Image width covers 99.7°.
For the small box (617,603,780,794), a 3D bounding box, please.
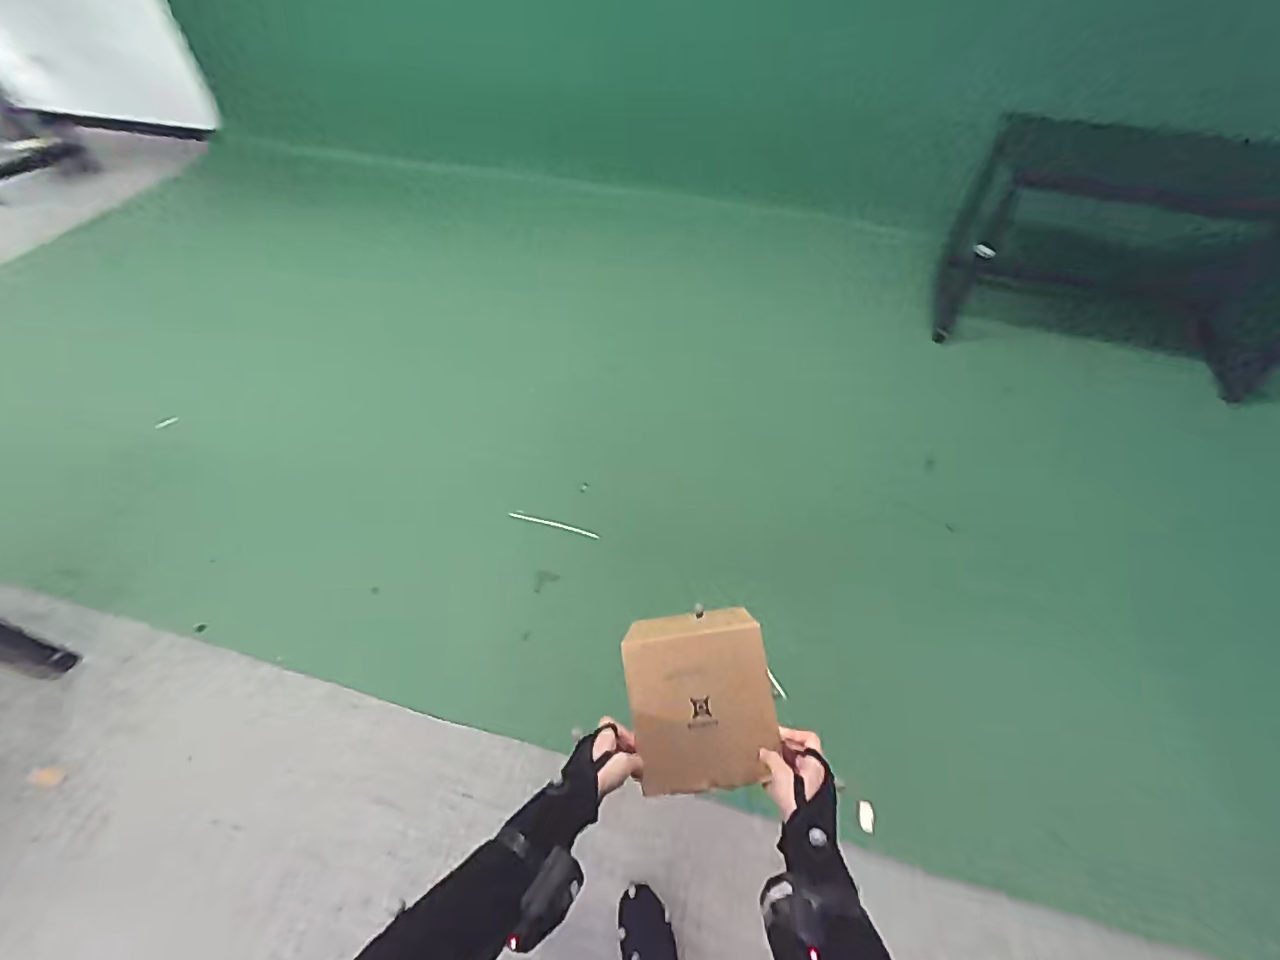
[{"bbox_3d":[0.070,0.266,0.695,0.168,0.176,0.179,-10,83,2],"label":"small box"}]
